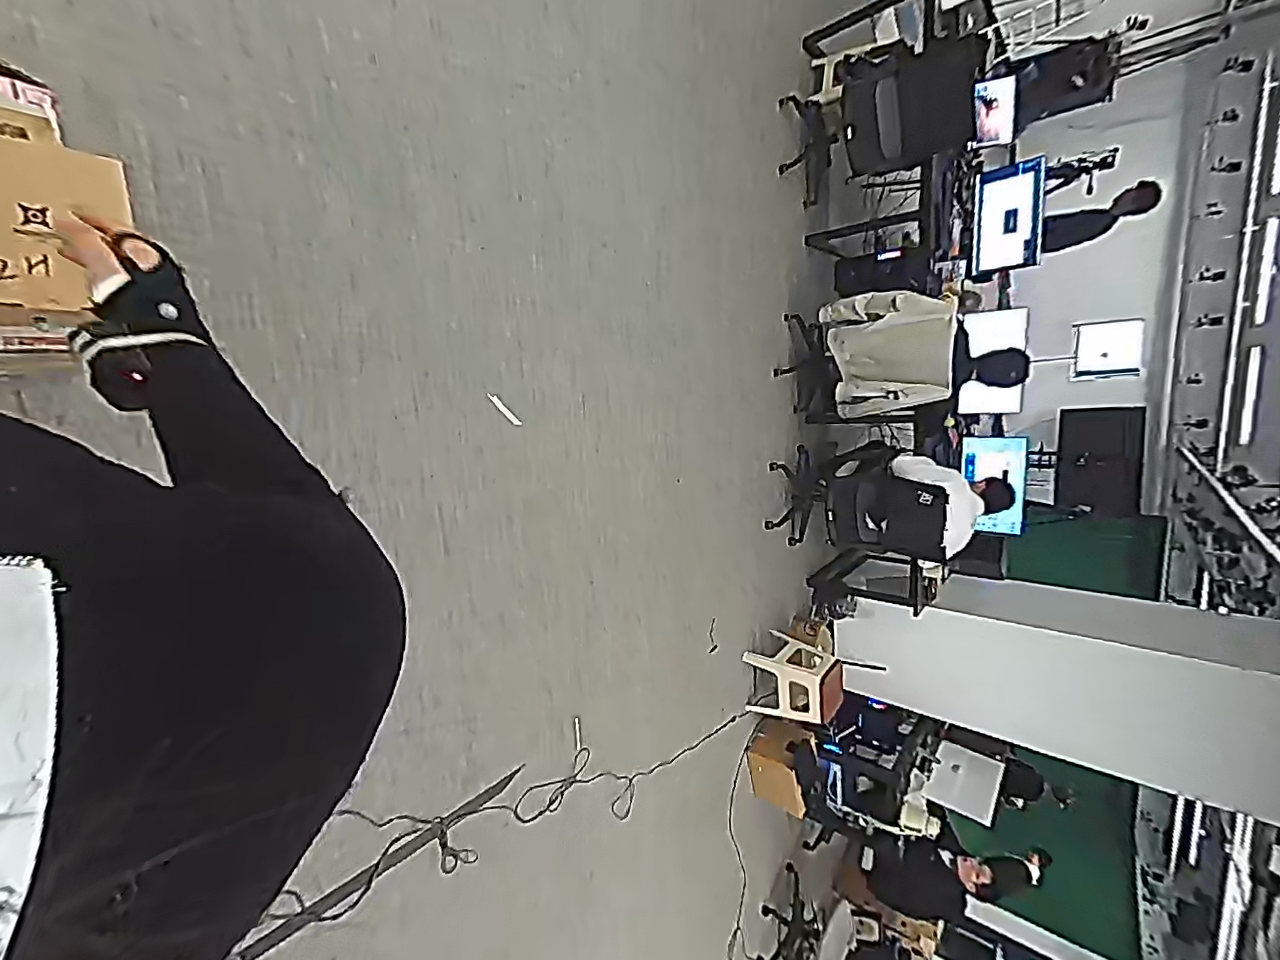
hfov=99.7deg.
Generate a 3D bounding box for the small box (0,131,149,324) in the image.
[{"bbox_3d":[-0.717,-0.286,0.634,0.168,0.176,0.179,-14,106,-50],"label":"small box"}]
